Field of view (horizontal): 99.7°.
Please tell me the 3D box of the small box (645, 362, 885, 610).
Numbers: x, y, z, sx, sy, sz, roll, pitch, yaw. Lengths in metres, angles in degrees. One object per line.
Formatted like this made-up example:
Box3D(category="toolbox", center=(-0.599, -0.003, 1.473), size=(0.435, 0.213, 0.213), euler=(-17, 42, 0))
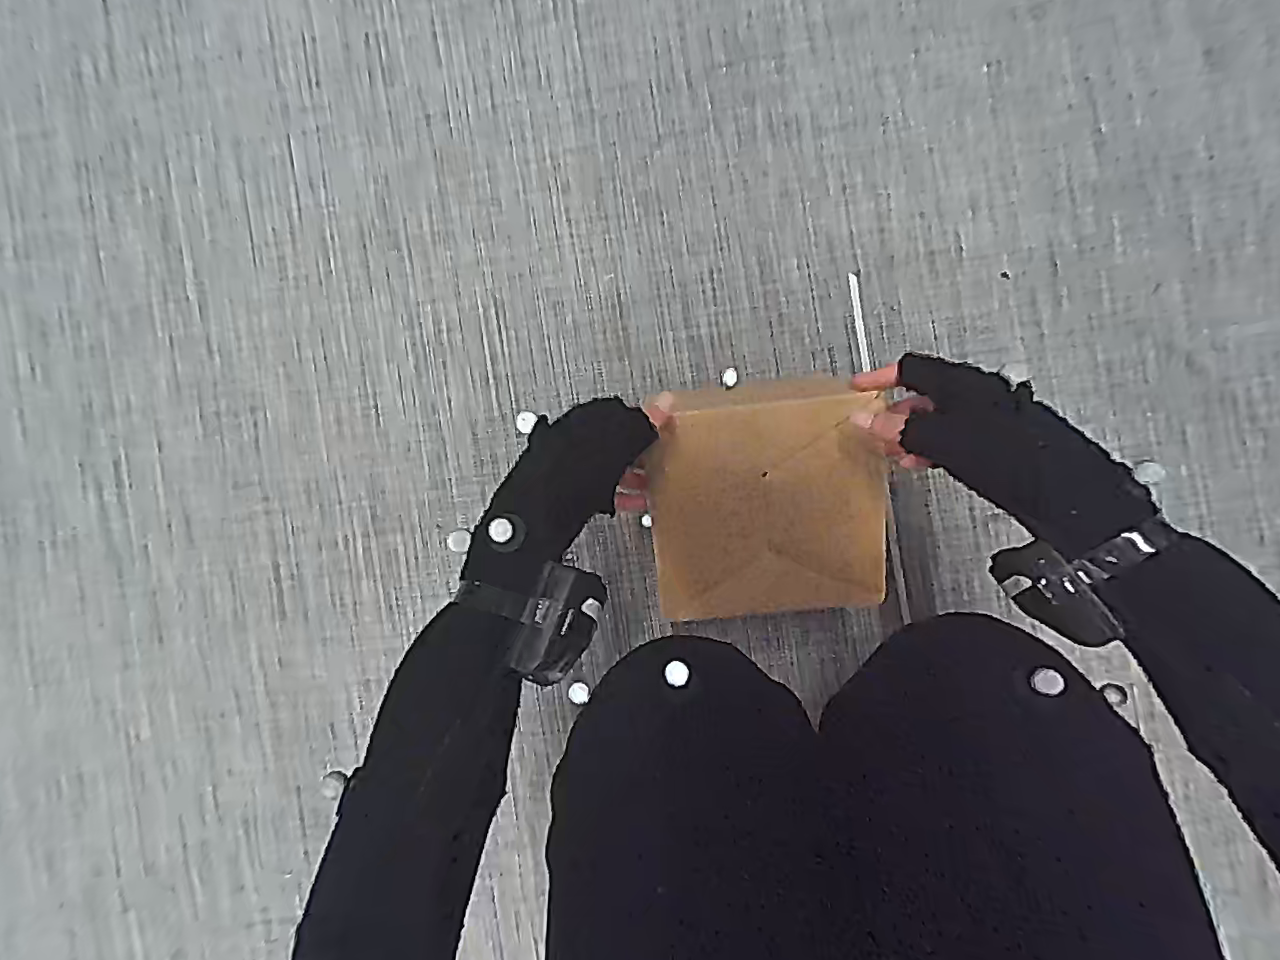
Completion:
Box3D(category="small box", center=(0.101, -0.002, 0.475), size=(0.179, 0.176, 0.168), euler=(-6, 108, 3))
